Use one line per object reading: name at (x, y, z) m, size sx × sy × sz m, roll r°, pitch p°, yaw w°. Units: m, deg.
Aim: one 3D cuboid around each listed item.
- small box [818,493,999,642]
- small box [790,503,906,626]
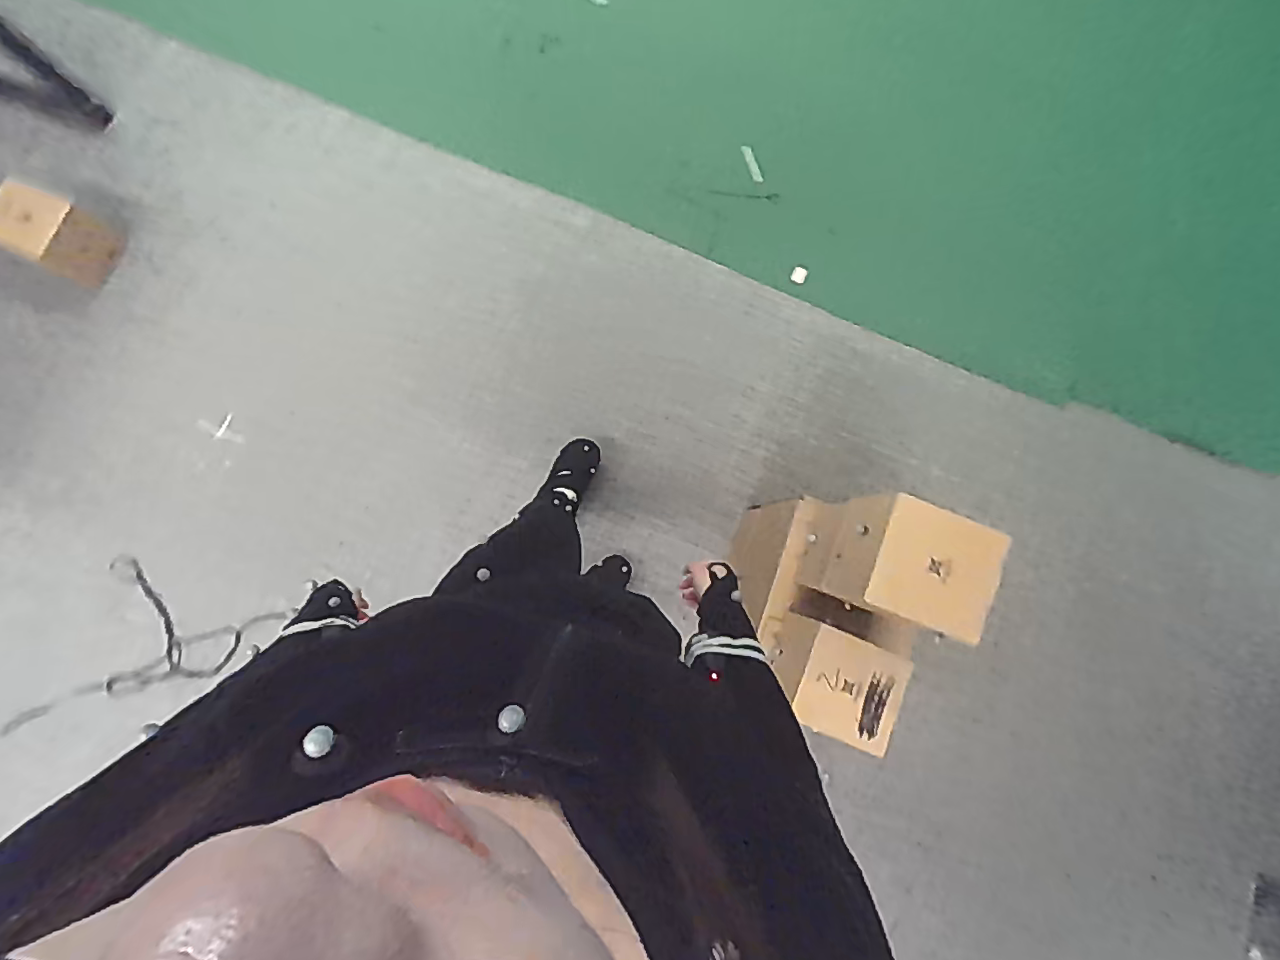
small box at (0.410, 0.133, 0.858) m, size 0.179 × 0.176 × 0.168 m, roll 23°, pitch 85°, yaw -1°
small box at (0.411, 0.151, 1.020) m, size 0.179 × 0.176 × 0.168 m, roll 23°, pitch 85°, yaw 0°
